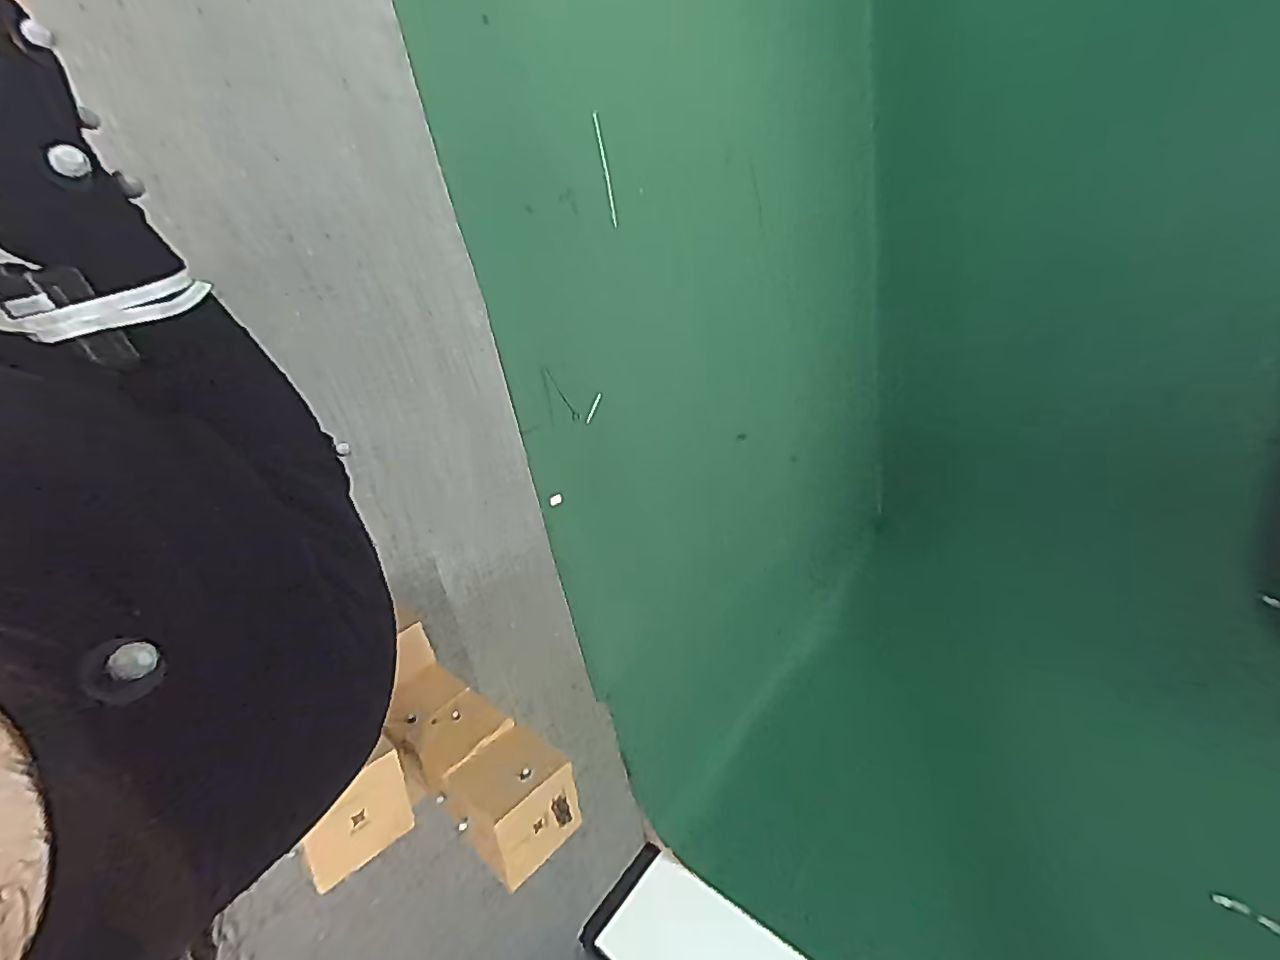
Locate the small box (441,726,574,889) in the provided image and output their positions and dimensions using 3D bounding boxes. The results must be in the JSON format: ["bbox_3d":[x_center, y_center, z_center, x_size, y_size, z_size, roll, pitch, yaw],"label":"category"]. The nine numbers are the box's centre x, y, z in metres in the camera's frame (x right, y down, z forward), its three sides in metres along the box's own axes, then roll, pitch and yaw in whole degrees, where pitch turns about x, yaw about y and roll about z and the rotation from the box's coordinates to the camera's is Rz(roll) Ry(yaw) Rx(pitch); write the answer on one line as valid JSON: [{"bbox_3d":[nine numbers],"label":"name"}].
[{"bbox_3d":[-0.256,0.623,1.055,0.179,0.176,0.168,-24,115,-43],"label":"small box"}]

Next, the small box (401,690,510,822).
[{"bbox_3d":[-0.379,0.590,1.160,0.168,0.176,0.179,-30,119,-40],"label":"small box"}]

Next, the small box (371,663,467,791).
[{"bbox_3d":[-0.502,0.567,1.265,0.179,0.176,0.168,-32,122,-40],"label":"small box"}]

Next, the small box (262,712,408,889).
[{"bbox_3d":[-0.544,0.556,0.966,0.168,0.176,0.179,-21,113,-44],"label":"small box"}]
